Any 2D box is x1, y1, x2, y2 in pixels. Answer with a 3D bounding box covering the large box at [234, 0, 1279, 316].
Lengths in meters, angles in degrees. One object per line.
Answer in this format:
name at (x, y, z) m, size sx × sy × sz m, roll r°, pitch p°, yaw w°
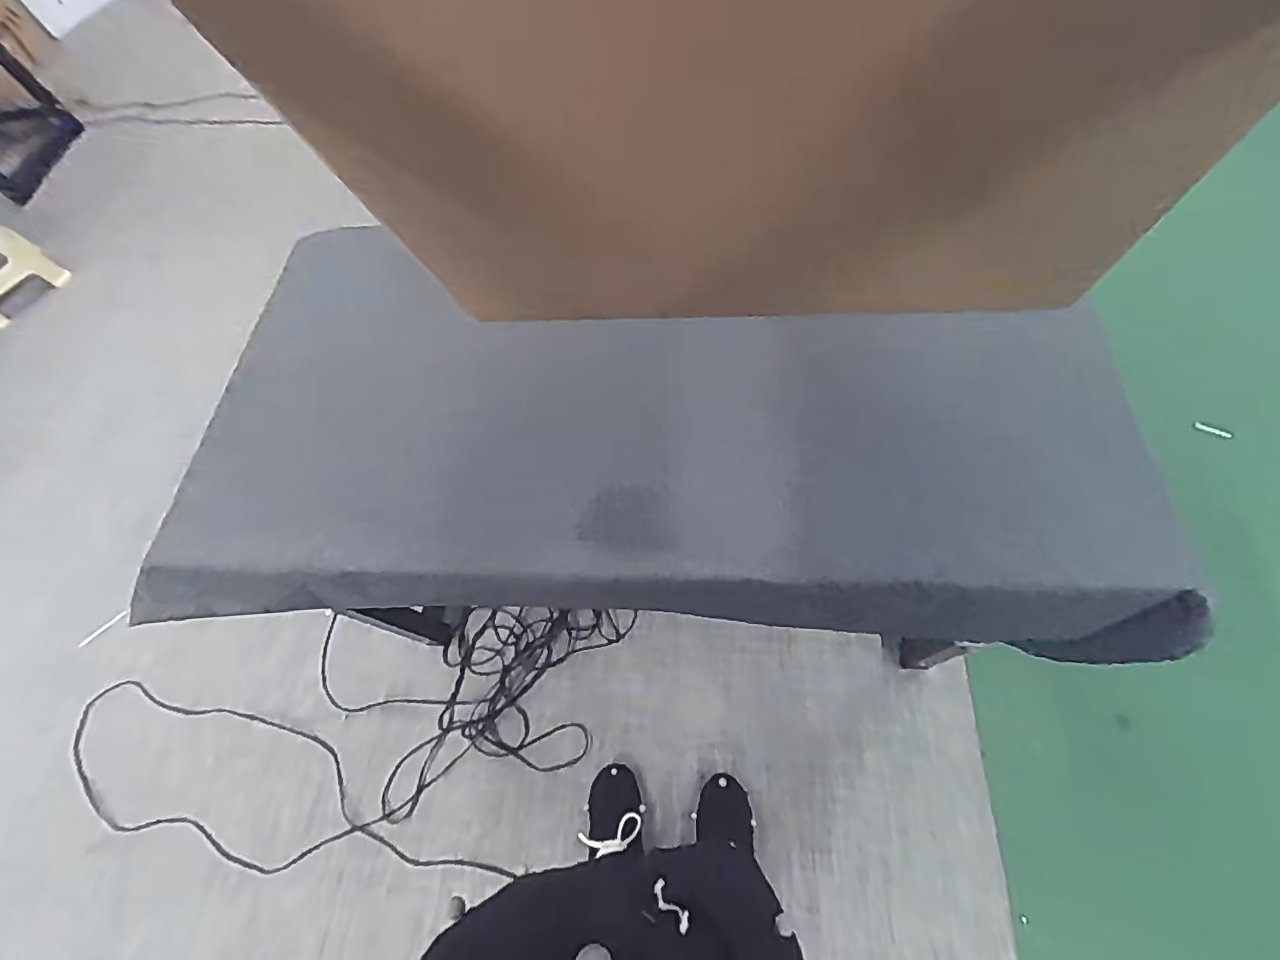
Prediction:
large box at (0.061, -0.300, 0.270) m, size 0.408 × 0.320 × 0.320 m, roll 3°, pitch 77°, yaw 11°
